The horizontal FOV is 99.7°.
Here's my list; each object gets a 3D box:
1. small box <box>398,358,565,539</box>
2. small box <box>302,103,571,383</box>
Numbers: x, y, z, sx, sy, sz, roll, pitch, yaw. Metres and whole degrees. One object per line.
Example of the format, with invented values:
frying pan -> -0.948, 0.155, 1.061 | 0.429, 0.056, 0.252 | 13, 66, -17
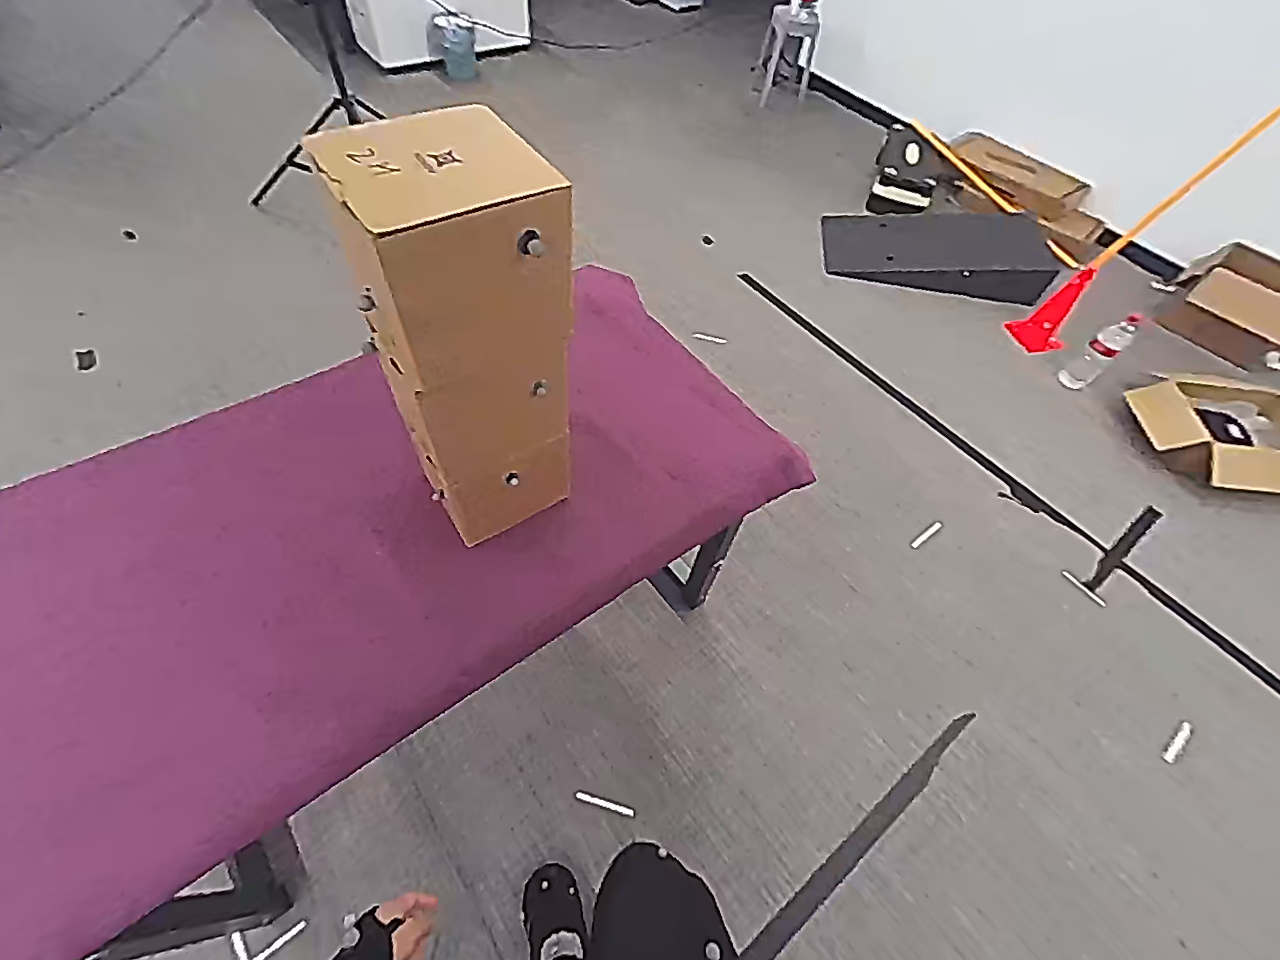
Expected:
small box -> -0.222, -0.042, 0.799 | 0.179, 0.176, 0.168 | -28, 64, -23
small box -> -0.183, -0.228, 0.530 | 0.179, 0.176, 0.168 | -29, 63, -23
